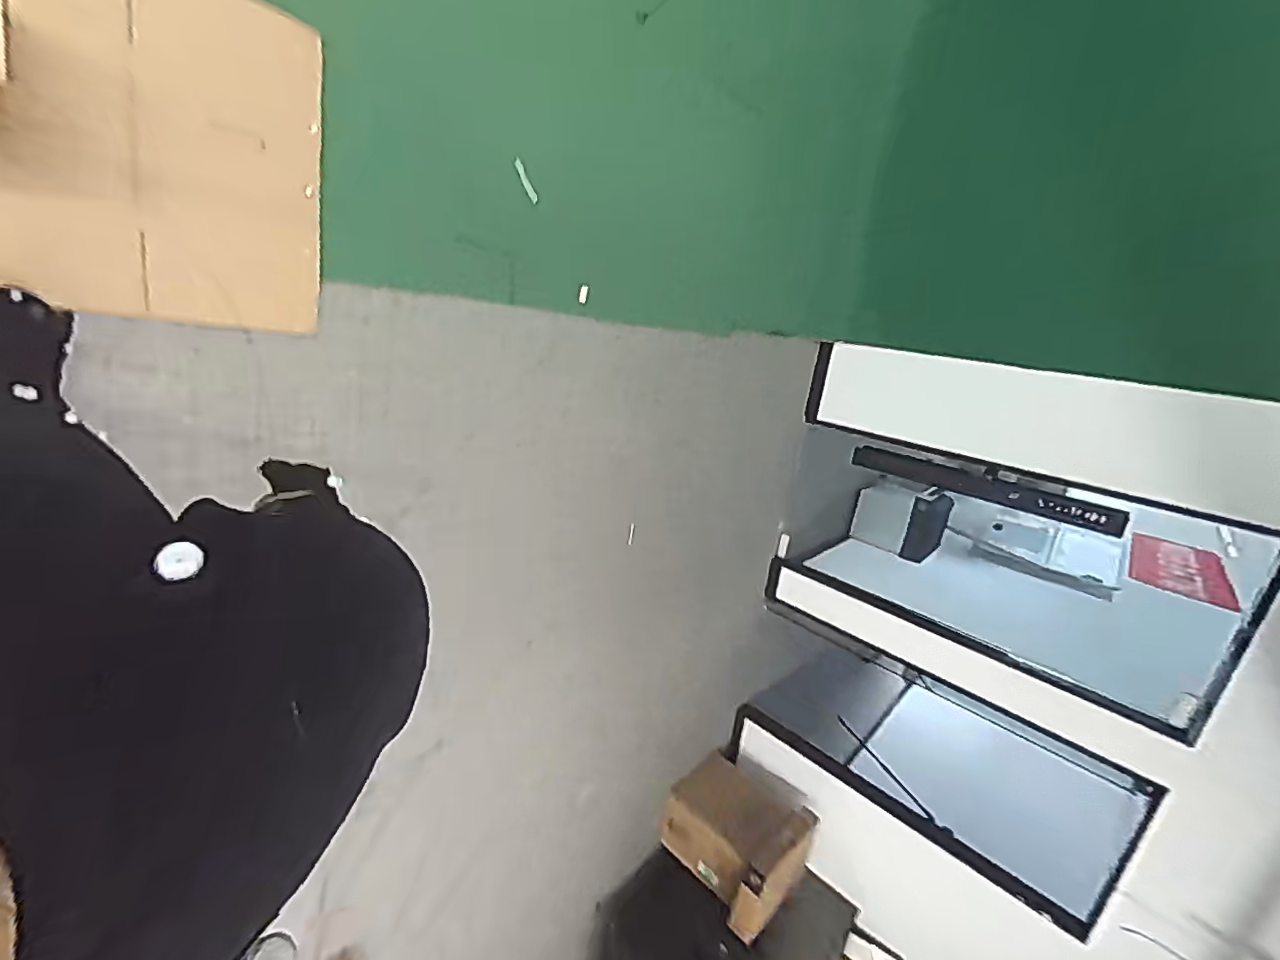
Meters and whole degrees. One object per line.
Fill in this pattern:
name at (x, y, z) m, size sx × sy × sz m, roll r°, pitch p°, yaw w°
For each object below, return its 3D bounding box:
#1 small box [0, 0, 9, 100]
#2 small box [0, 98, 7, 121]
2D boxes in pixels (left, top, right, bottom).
small box at (-0.862, -0.580, 0.624) m, size 0.168 × 0.176 × 0.179 m, roll -4°, pitch 110°, yaw -48°
small box at (-0.985, -0.614, 0.725) m, size 0.168 × 0.176 × 0.179 m, roll -5°, pitch 110°, yaw -47°
